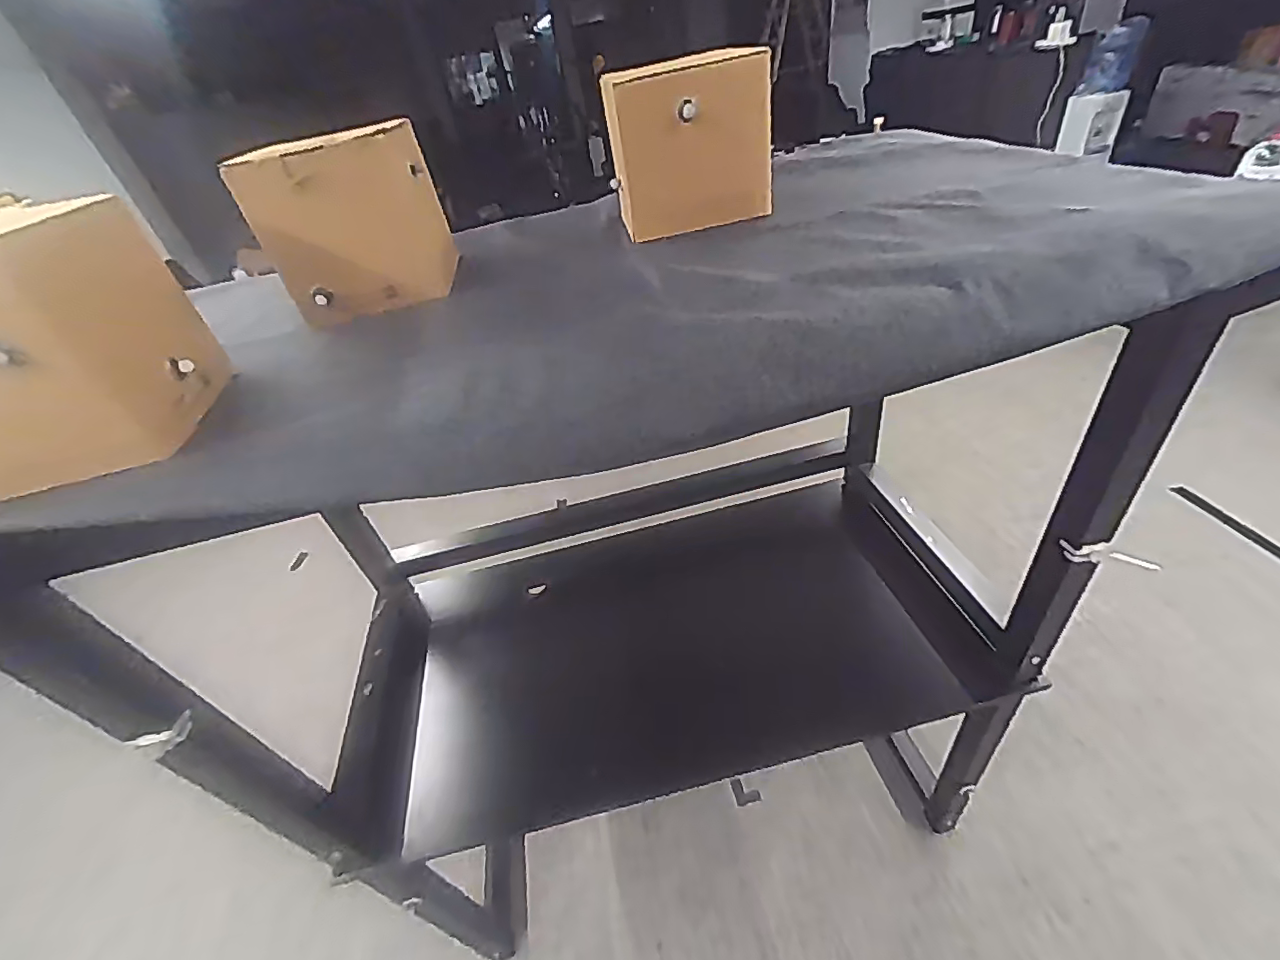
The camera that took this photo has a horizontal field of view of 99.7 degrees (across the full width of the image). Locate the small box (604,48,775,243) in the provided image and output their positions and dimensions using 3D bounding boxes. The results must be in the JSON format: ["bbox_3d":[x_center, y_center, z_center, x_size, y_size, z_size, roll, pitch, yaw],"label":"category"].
[{"bbox_3d":[0.061,-0.420,0.681,0.179,0.176,0.168,-13,39,1],"label":"small box"}]

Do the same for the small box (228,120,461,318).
[{"bbox_3d":[-0.326,-0.307,0.644,0.168,0.176,0.179,-14,38,-2],"label":"small box"}]
